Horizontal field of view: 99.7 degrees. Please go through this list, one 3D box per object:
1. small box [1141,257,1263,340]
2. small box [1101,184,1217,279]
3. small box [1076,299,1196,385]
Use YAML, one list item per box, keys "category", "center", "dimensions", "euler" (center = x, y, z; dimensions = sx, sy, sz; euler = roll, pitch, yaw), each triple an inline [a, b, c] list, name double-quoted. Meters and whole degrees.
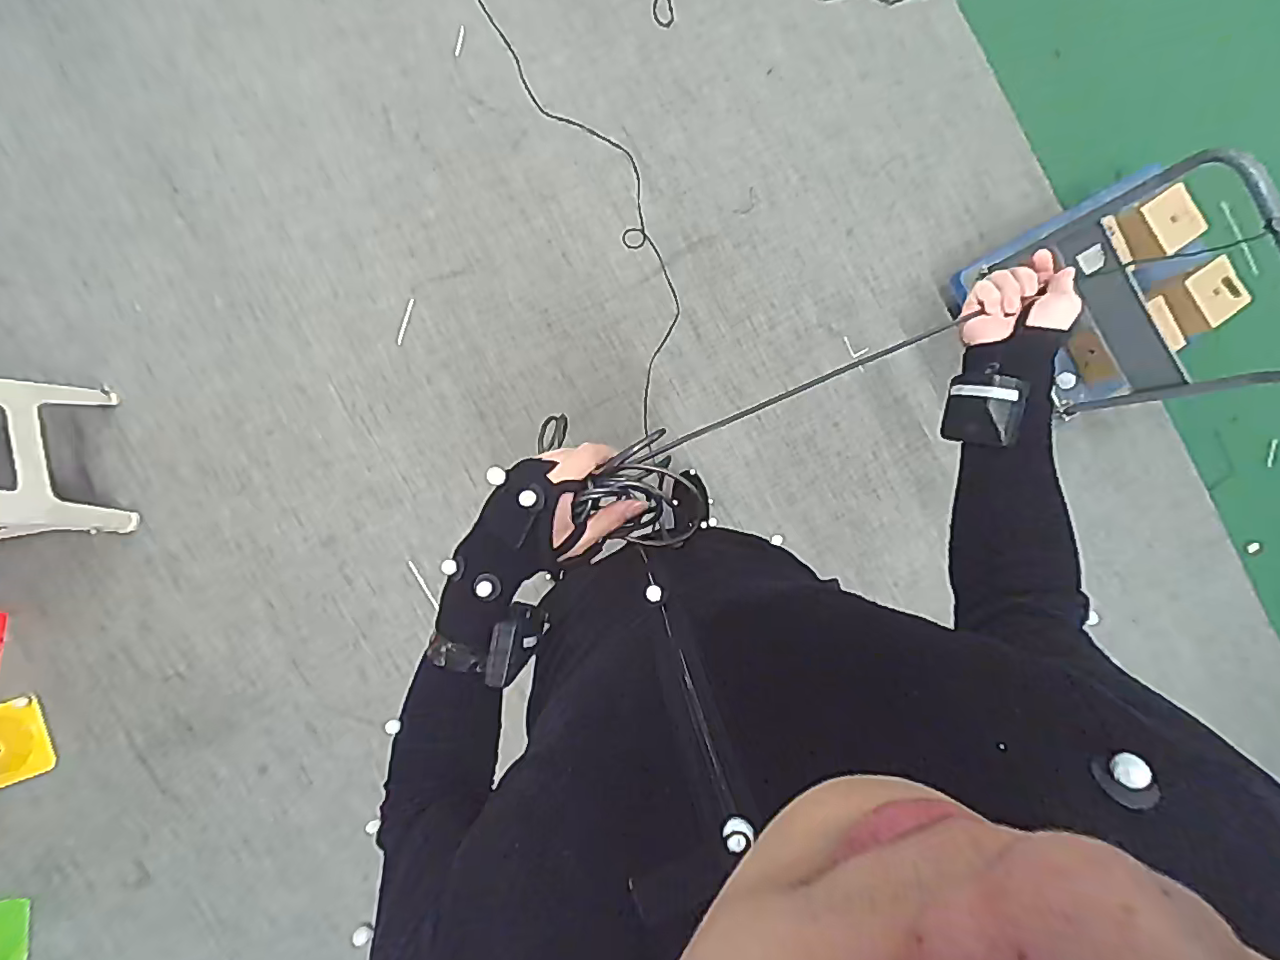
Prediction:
- category: "small box"
  center: [1.699, -0.536, 1.646]
  dimensions: [0.179, 0.176, 0.168]
  euler: [-33, 90, -7]
- category: "small box"
  center: [1.560, -0.746, 1.642]
  dimensions: [0.179, 0.176, 0.168]
  euler: [-33, 92, -8]
- category: "small box"
  center: [1.466, -0.405, 1.607]
  dimensions: [0.179, 0.176, 0.168]
  euler: [-28, 90, -8]
